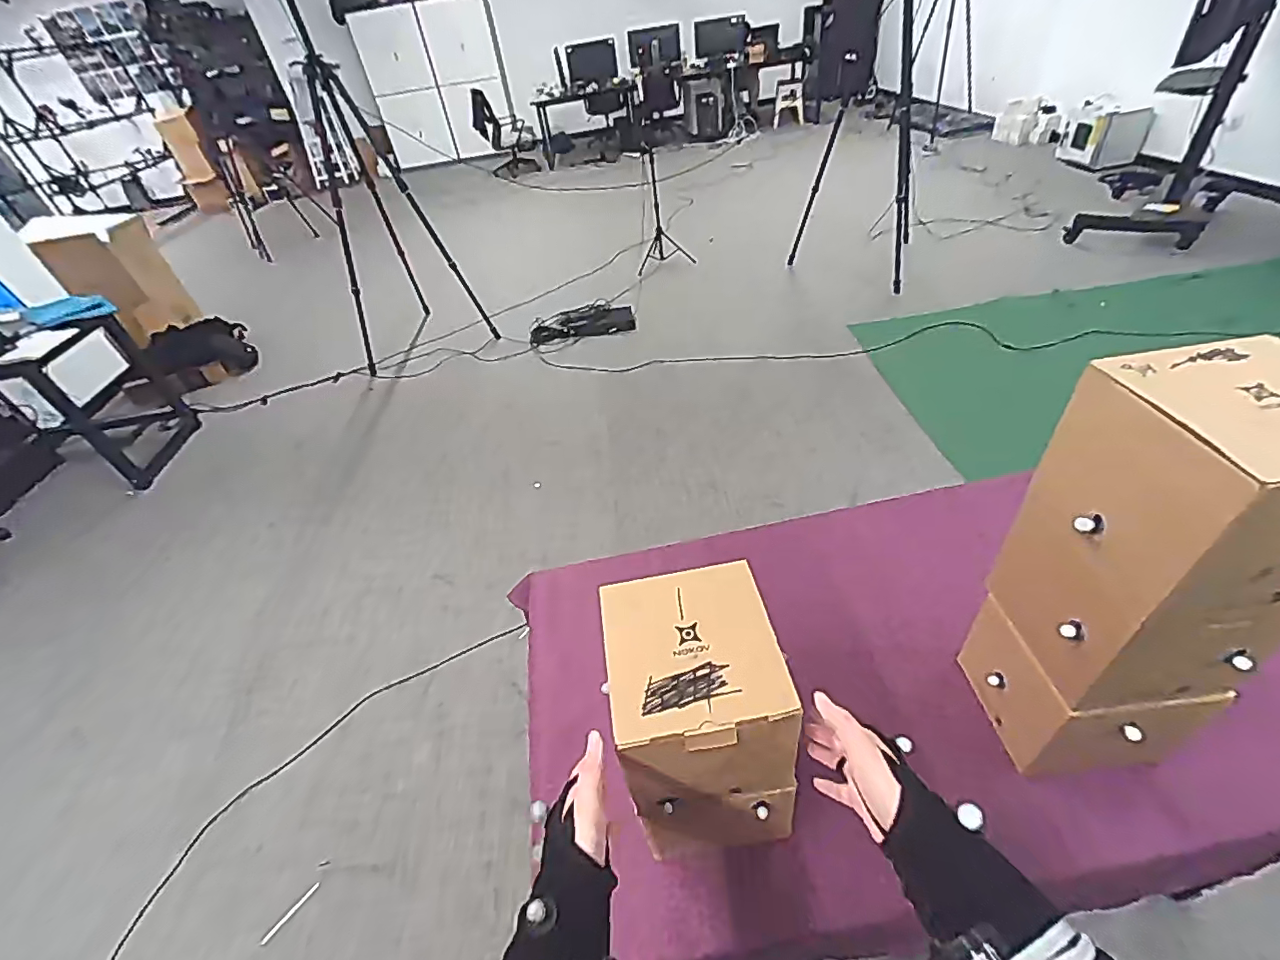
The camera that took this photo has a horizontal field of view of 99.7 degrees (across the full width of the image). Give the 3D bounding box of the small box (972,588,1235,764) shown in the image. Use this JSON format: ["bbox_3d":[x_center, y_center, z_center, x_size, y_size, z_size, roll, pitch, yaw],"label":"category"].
[{"bbox_3d":[0.552,0.240,0.684,0.179,0.176,0.168,-8,42,4],"label":"small box"}]

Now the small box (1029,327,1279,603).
[{"bbox_3d":[0.497,-0.007,0.477,0.168,0.176,0.179,-9,42,2],"label":"small box"}]

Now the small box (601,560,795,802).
[{"bbox_3d":[0.058,0.218,0.578,0.168,0.176,0.179,-11,39,0],"label":"small box"}]

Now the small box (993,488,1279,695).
[{"bbox_3d":[0.525,0.114,0.584,0.168,0.176,0.179,-8,40,4],"label":"small box"}]

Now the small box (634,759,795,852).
[{"bbox_3d":[0.085,0.342,0.683,0.179,0.176,0.168,-11,41,0],"label":"small box"}]
